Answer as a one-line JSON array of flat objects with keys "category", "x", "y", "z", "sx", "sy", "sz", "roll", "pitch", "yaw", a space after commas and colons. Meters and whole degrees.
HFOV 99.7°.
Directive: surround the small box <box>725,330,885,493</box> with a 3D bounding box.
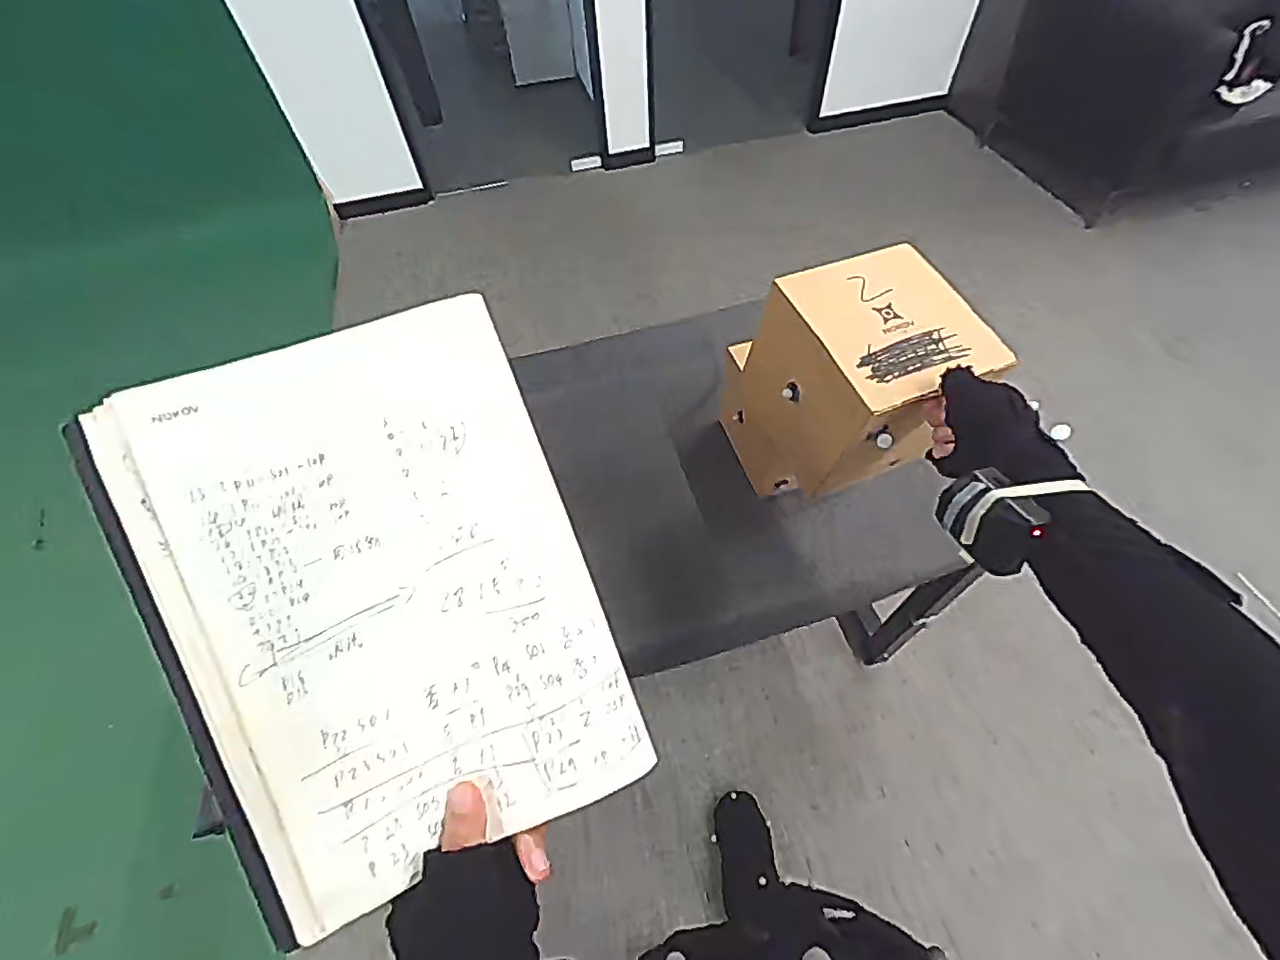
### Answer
[{"category": "small box", "x": 0.240, "y": -0.098, "z": 0.838, "sx": 0.168, "sy": 0.176, "sz": 0.179, "roll": -15, "pitch": 54, "yaw": -7}]
